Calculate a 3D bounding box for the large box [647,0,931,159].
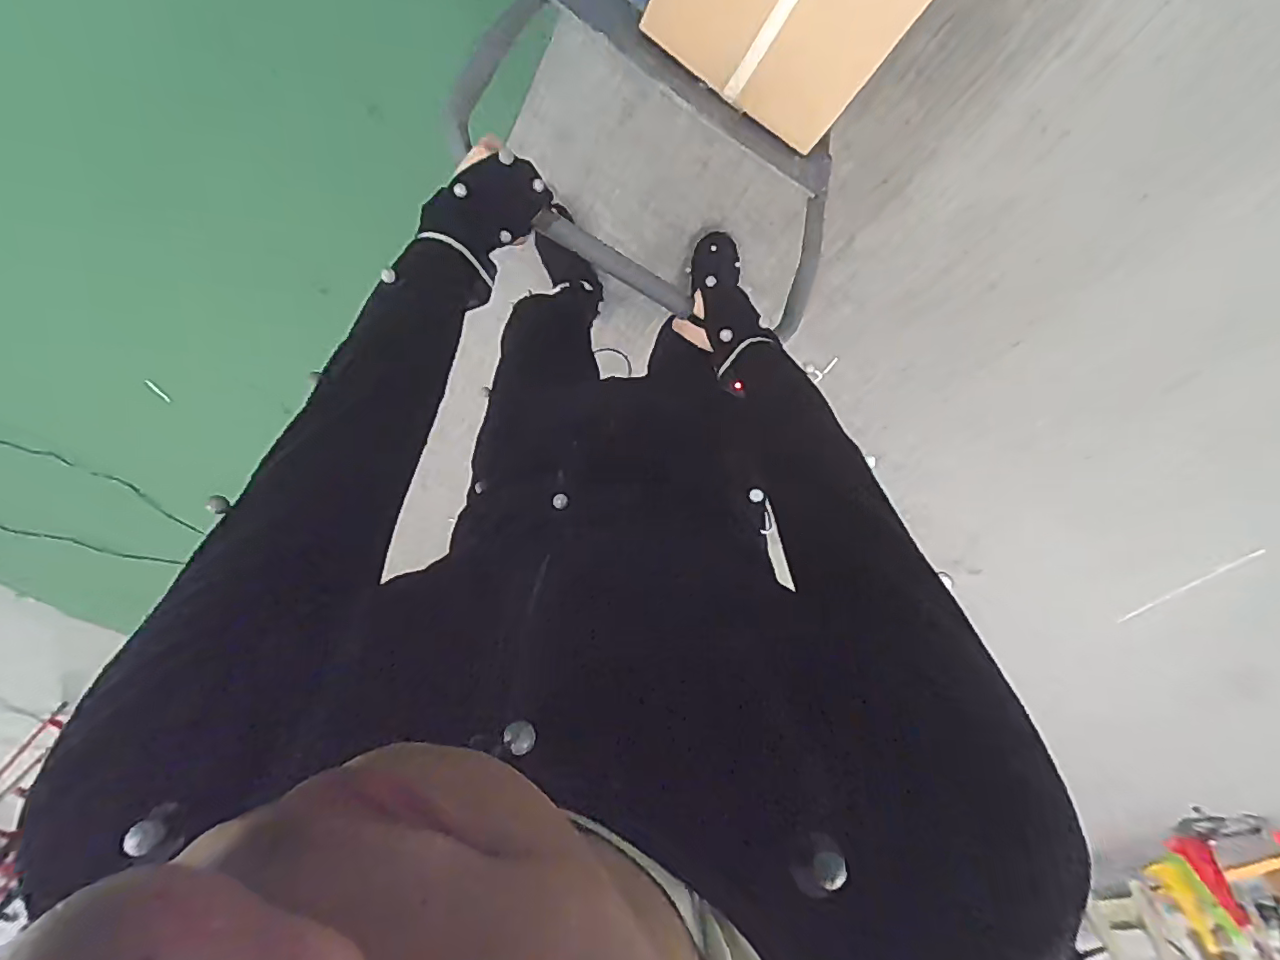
[{"bbox_3d":[0.258,-0.787,0.772,0.320,0.320,0.408,26,144,-18],"label":"large box"}]
